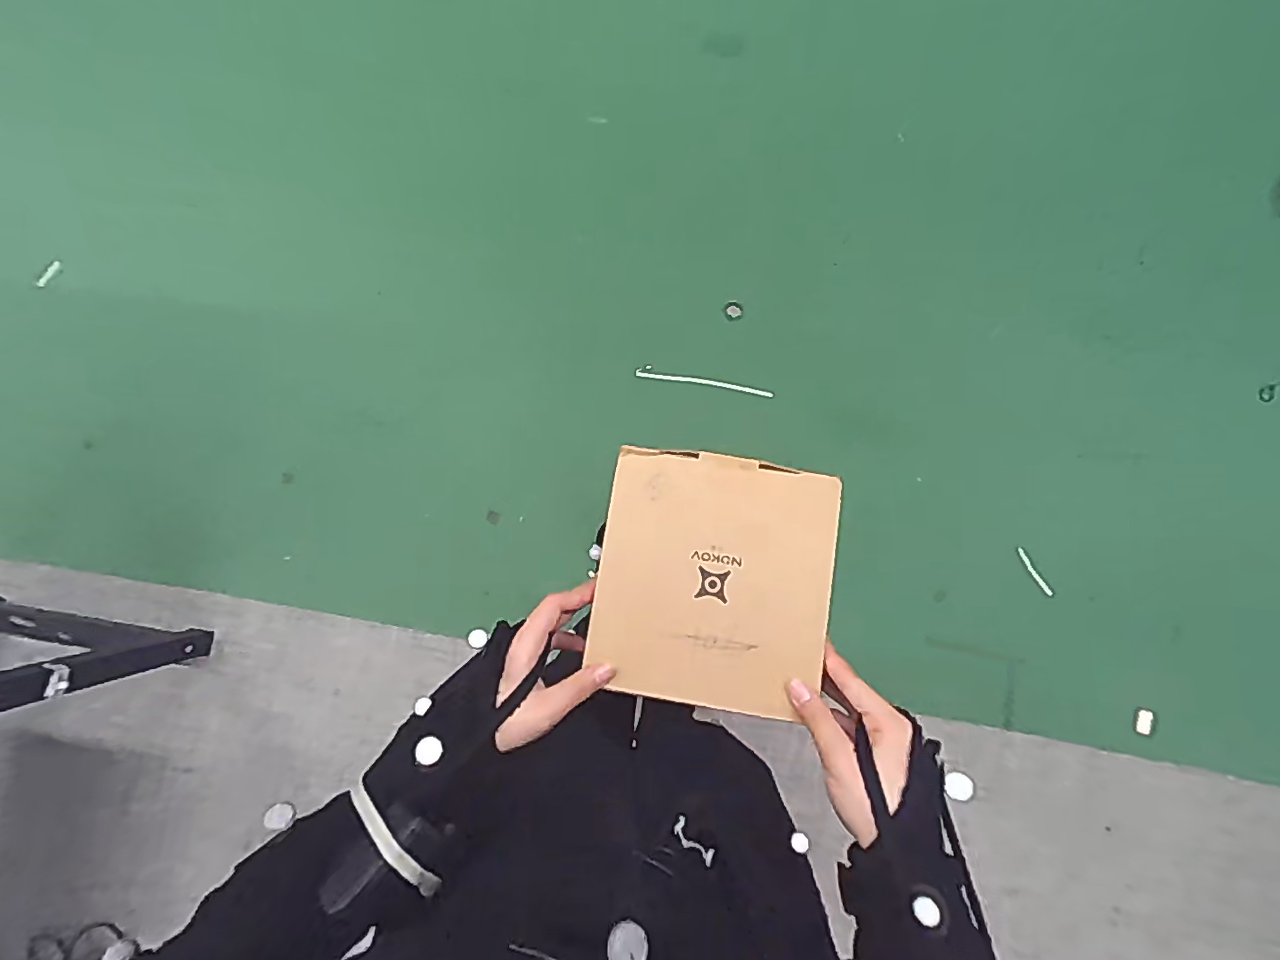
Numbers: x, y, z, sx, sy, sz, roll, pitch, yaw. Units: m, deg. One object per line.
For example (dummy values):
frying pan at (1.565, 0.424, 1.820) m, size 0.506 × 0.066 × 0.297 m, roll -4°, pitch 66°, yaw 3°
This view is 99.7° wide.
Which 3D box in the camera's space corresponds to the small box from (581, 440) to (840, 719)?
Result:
small box at (0.055, 0.078, 0.466) m, size 0.168 × 0.176 × 0.179 m, roll 9°, pitch 83°, yaw 4°
